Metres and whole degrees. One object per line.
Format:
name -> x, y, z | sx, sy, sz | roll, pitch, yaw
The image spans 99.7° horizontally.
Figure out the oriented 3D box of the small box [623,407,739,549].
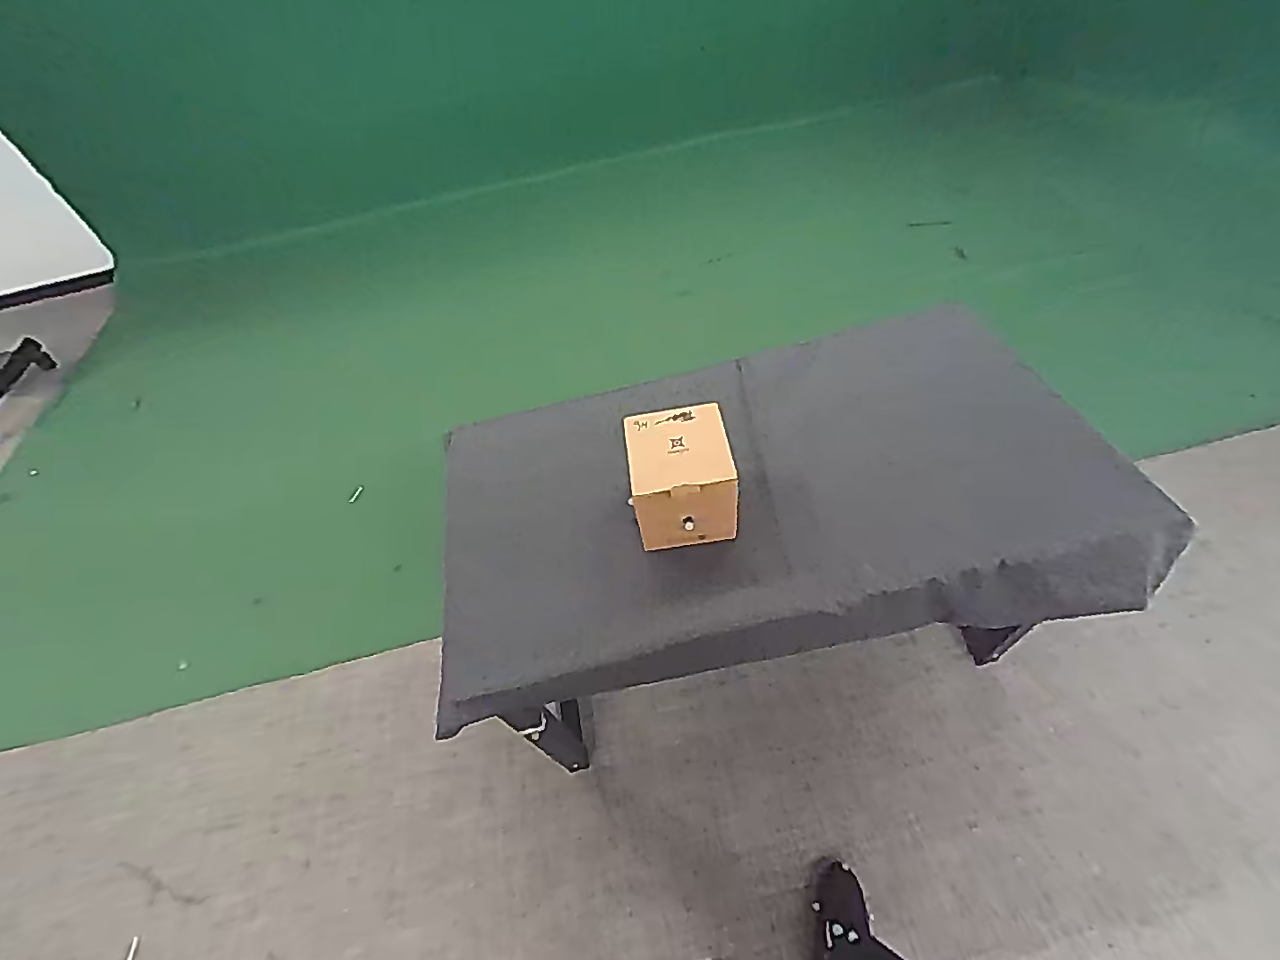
small box -> 0.074, 0.005, 0.946 | 0.168, 0.176, 0.179 | -12, 51, 2
